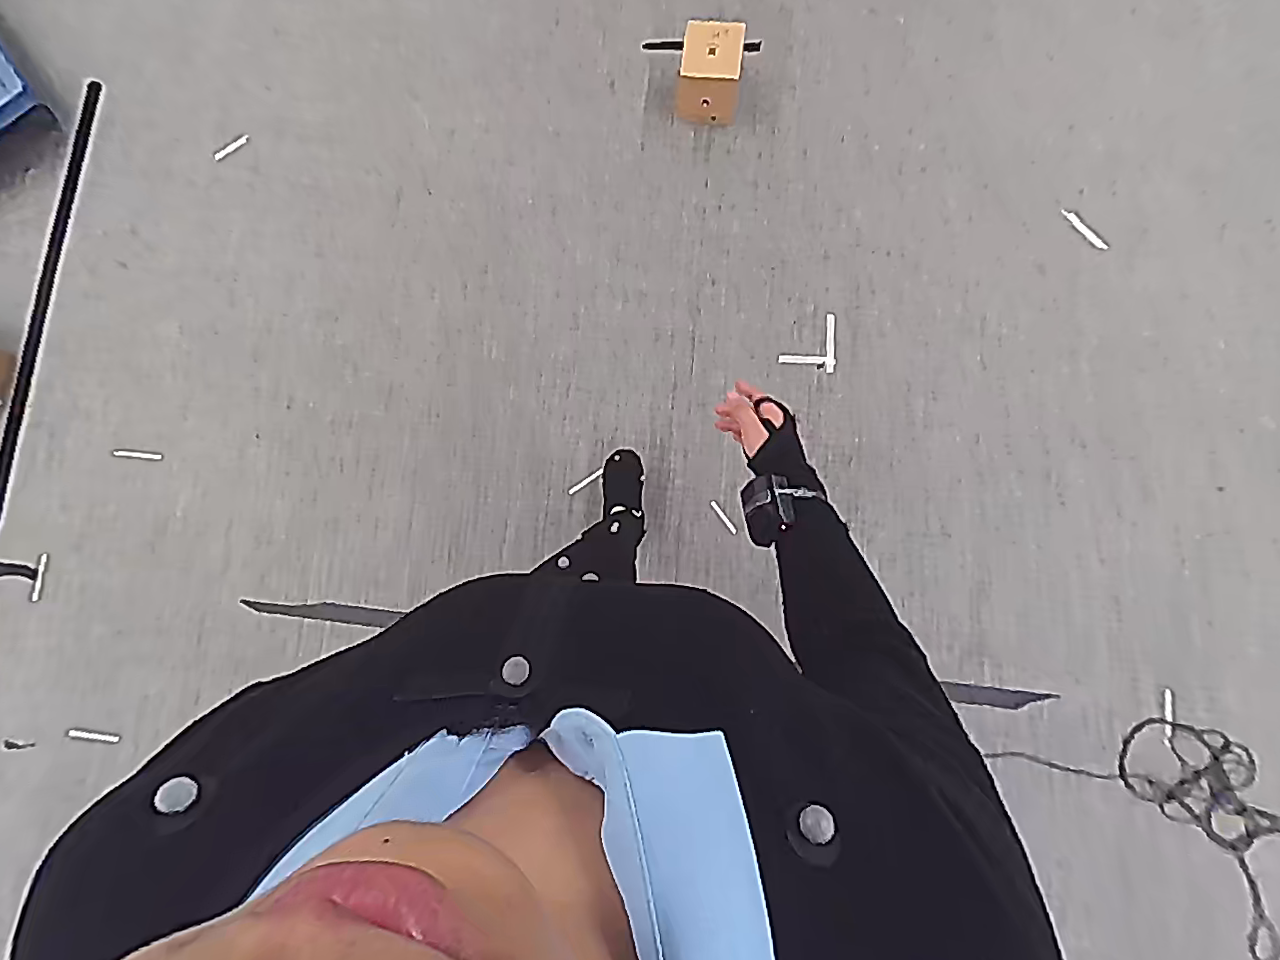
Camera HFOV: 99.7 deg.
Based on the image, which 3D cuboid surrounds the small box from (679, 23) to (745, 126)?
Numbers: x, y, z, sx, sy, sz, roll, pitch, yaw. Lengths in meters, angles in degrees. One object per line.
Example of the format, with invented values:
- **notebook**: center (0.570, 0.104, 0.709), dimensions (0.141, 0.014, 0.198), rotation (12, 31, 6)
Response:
- **small box**: center (0.206, -1.175, 1.576), dimensions (0.168, 0.176, 0.179), rotation (7, 83, 4)
